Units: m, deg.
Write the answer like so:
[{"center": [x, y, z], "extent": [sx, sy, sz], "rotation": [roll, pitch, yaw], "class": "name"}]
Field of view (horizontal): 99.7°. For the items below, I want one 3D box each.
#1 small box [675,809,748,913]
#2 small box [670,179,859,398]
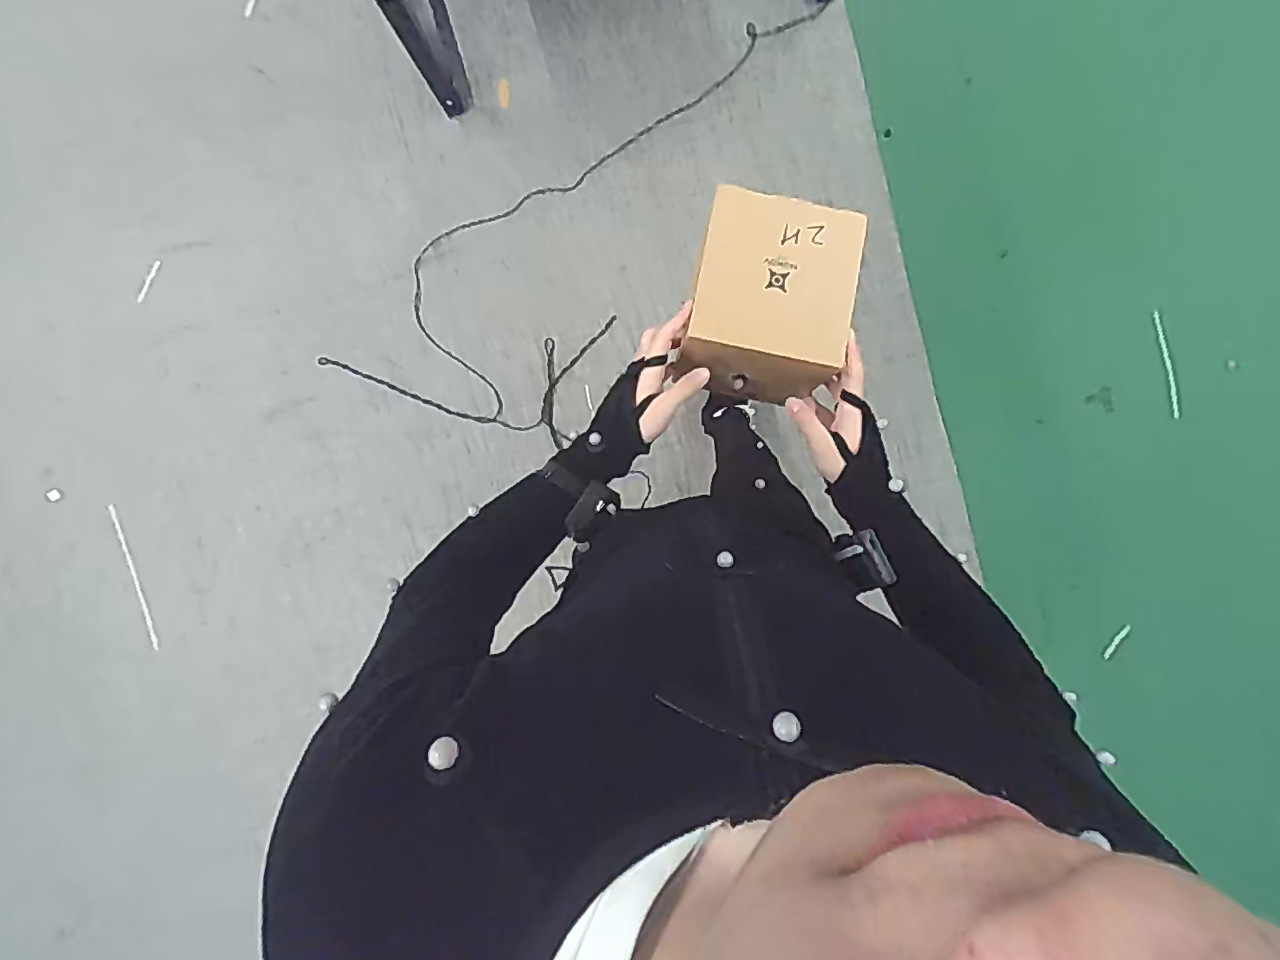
[{"center": [0.196, 1.067, 1.535], "extent": [0.168, 0.176, 0.179], "rotation": [-12, 92, 2], "class": "small box"}, {"center": [0.133, -0.210, 0.642], "extent": [0.168, 0.176, 0.179], "rotation": [12, 83, -1], "class": "small box"}]
